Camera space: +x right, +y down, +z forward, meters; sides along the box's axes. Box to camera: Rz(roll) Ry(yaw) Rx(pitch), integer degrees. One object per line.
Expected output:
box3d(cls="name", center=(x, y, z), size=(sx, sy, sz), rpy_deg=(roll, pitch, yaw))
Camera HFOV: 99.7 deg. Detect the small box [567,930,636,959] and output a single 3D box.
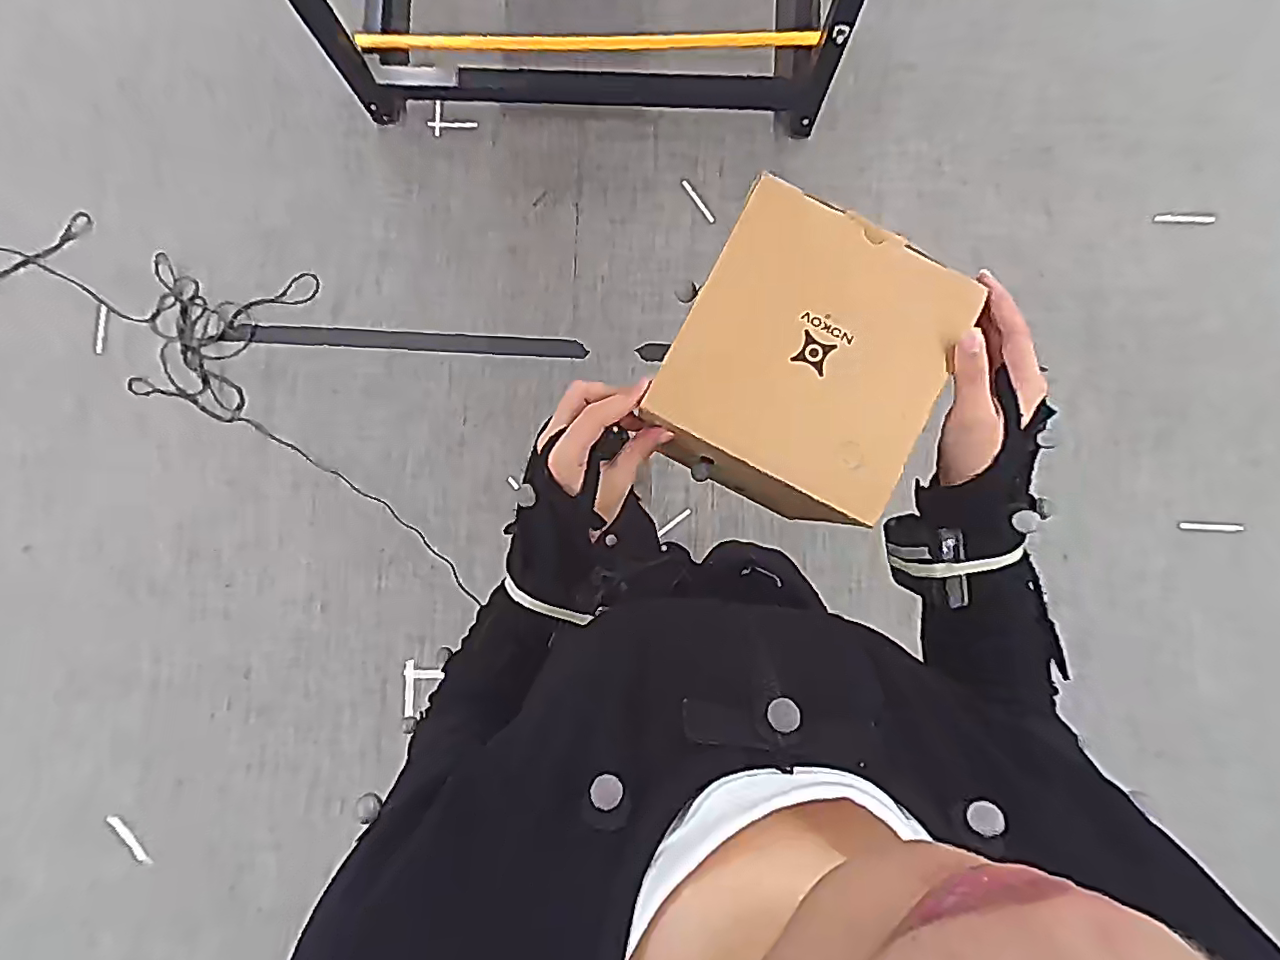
box3d(cls="small box", center=(-0.101, 1.200, 1.251), size=(0.168, 0.176, 0.179), rpy_deg=(10, 88, 2))
